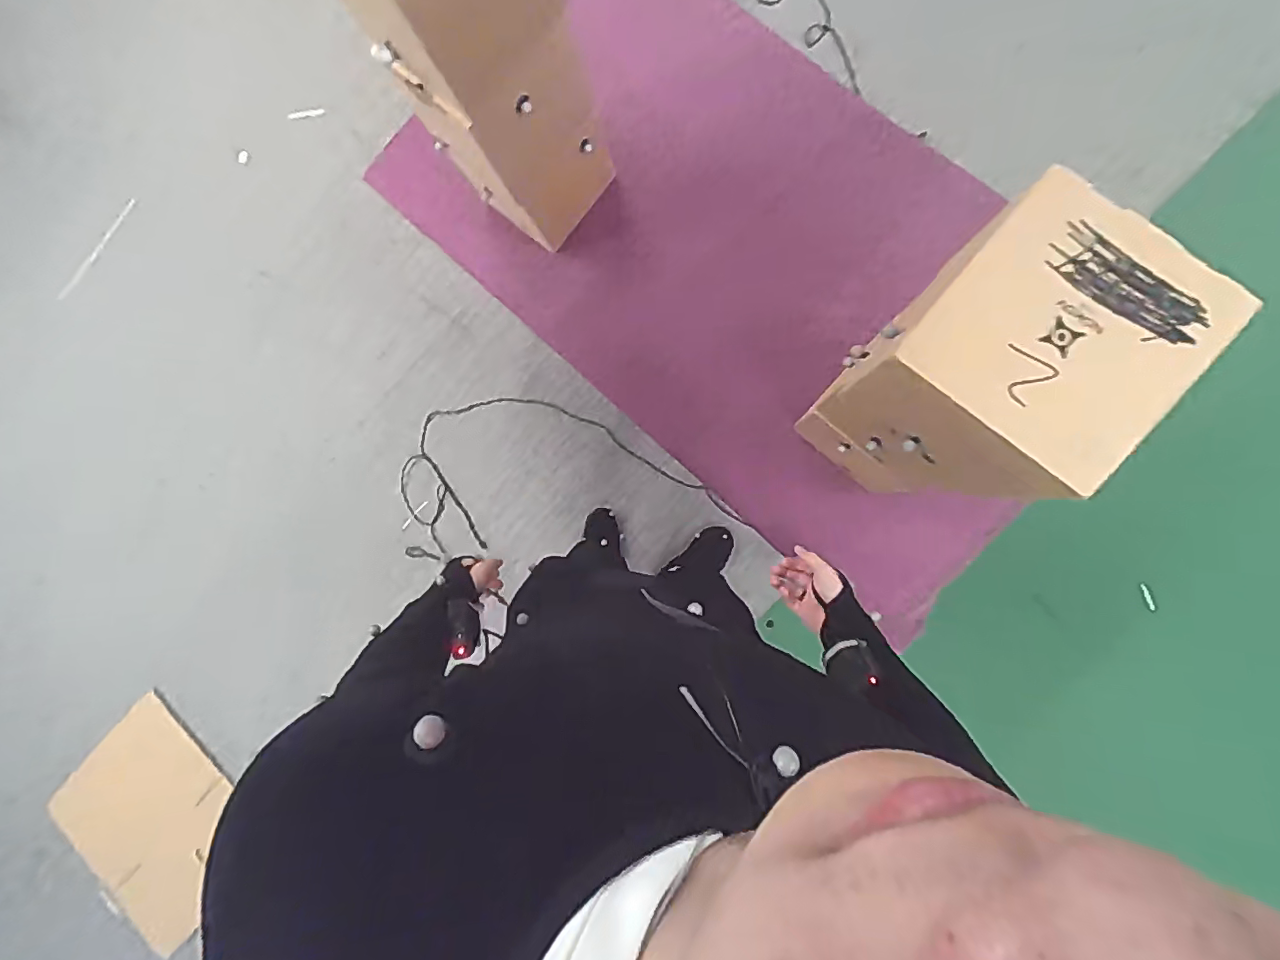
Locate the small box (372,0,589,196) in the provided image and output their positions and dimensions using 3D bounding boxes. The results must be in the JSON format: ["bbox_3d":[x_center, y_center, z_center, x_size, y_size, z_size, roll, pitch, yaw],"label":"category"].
[{"bbox_3d":[-0.188,-0.512,0.692,0.168,0.176,0.179,41,93,7],"label":"small box"}]

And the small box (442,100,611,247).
[{"bbox_3d":[-0.166,-0.510,0.855,0.168,0.176,0.179,40,93,7],"label":"small box"}]

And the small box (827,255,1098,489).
[{"bbox_3d":[0.335,-0.104,0.610,0.168,0.176,0.179,43,94,6],"label":"small box"}]

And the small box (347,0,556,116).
[{"bbox_3d":[-0.202,-0.521,0.530,0.168,0.176,0.179,41,94,7],"label":"small box"}]

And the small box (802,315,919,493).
[{"bbox_3d":[0.356,-0.097,0.774,0.168,0.176,0.179,42,93,8],"label":"small box"}]
